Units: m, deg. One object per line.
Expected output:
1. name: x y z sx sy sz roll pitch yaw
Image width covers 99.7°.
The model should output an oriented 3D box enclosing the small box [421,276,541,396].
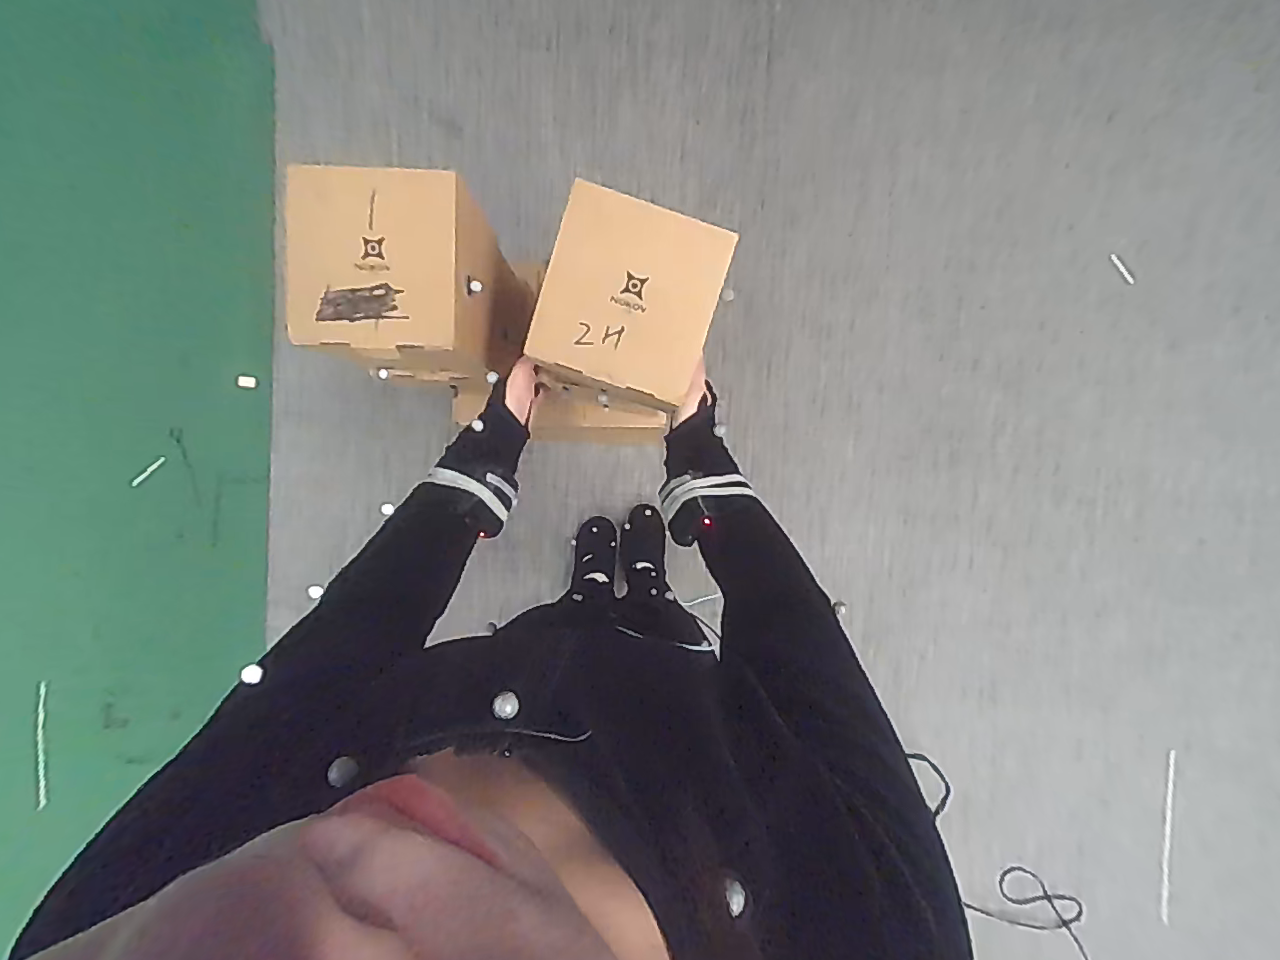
1. small box: -0.264 -0.243 0.938 0.168 0.176 0.179 3 93 -1

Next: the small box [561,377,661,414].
1. small box: -0.031 -0.217 0.934 0.168 0.176 0.179 9 93 2

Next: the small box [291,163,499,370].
1. small box: -0.261 -0.224 0.611 0.168 0.176 0.179 1 92 -2

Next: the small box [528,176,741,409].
1. small box: -0.009 -0.187 0.596 0.168 0.176 0.179 18 95 -3
